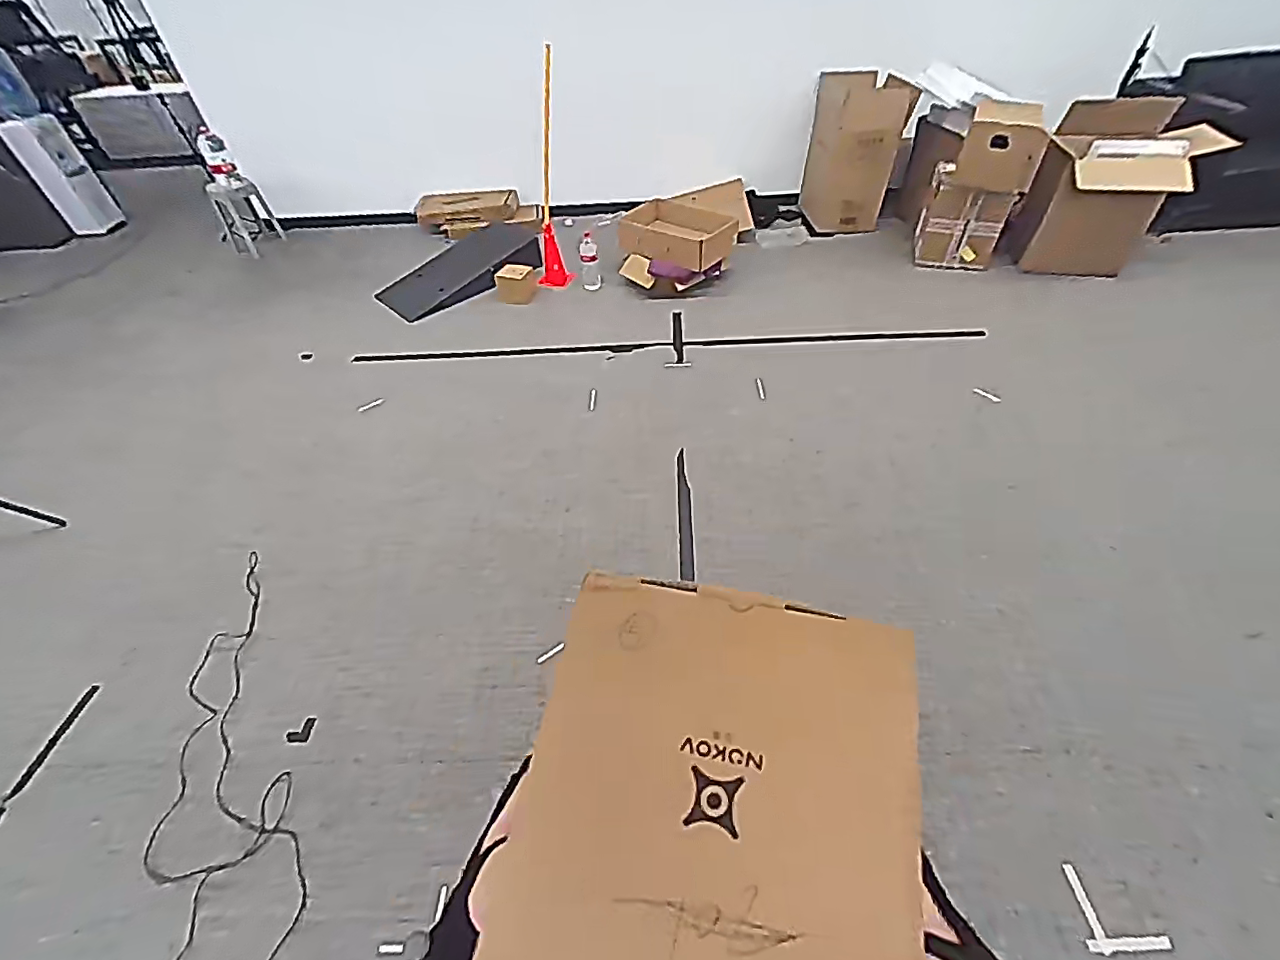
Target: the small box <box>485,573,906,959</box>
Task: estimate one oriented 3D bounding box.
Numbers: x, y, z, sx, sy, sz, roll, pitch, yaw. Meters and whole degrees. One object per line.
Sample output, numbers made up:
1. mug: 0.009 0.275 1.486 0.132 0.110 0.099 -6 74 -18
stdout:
1. small box: 0.039 0.177 0.313 0.168 0.176 0.179 9 61 10
